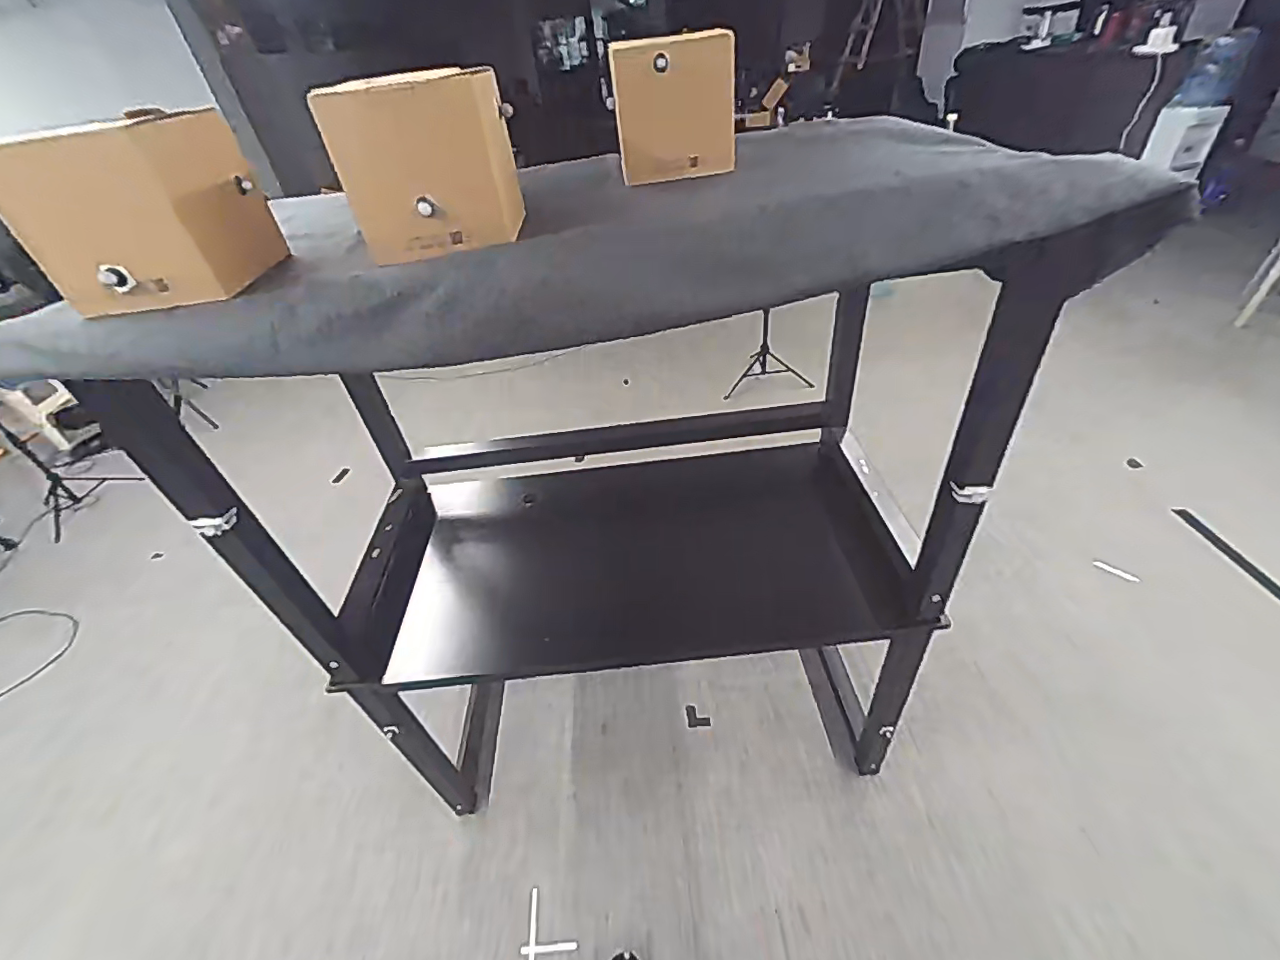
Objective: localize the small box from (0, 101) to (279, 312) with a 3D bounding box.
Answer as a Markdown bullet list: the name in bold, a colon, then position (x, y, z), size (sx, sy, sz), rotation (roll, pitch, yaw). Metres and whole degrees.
- **small box**: position (-0.543, -0.303, 0.597), size (0.168, 0.176, 0.179), rotation (-9, 39, 0)

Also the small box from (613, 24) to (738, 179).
- **small box**: position (0.050, -0.568, 0.818), size (0.168, 0.176, 0.179), rotation (-8, 39, 1)
